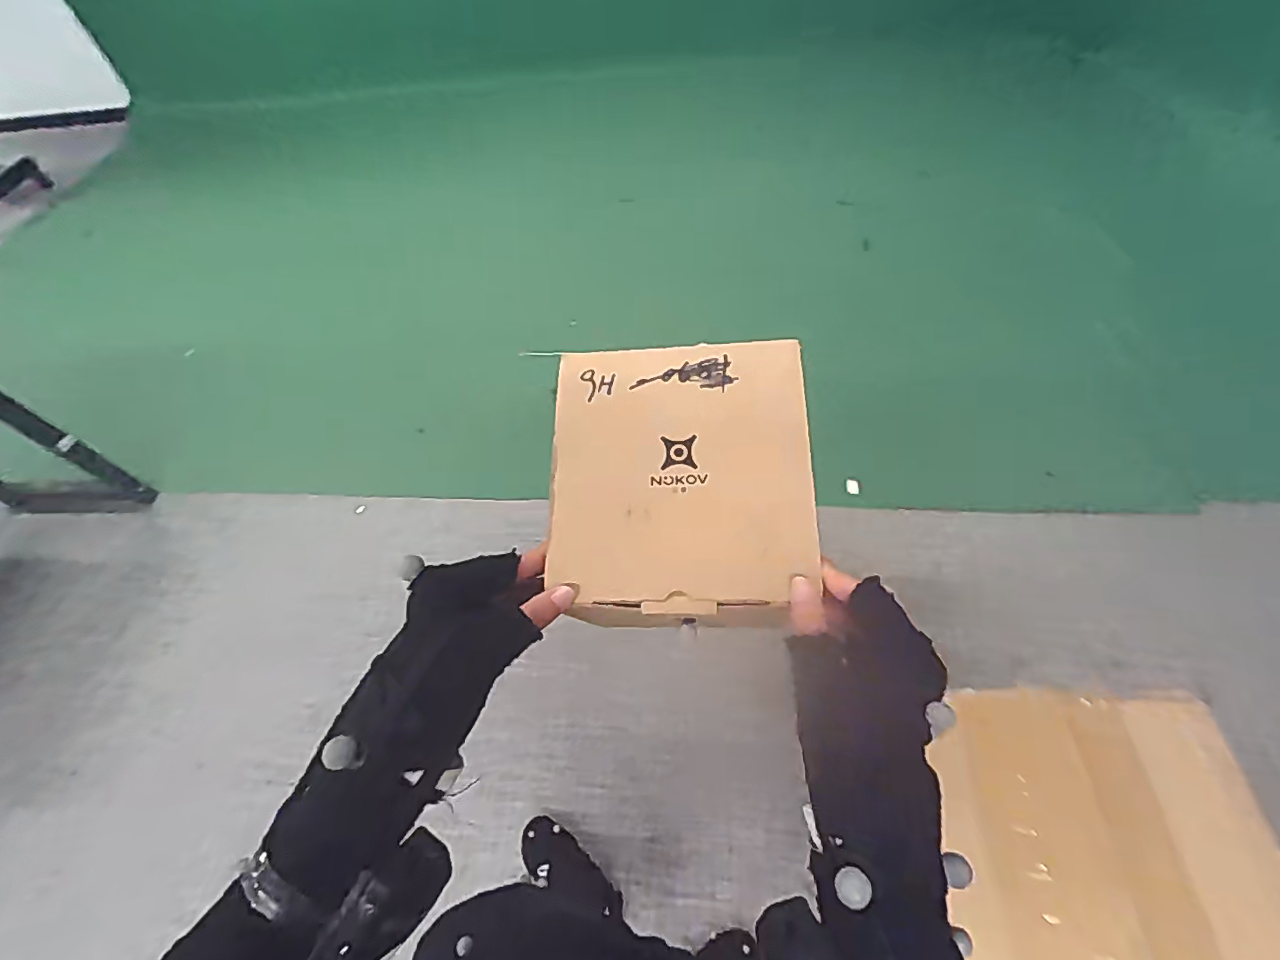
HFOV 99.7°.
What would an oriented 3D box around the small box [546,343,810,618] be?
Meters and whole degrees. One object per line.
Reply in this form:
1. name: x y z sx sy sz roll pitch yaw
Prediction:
1. small box: 0.033 0.016 0.427 0.168 0.176 0.179 -2 71 7
